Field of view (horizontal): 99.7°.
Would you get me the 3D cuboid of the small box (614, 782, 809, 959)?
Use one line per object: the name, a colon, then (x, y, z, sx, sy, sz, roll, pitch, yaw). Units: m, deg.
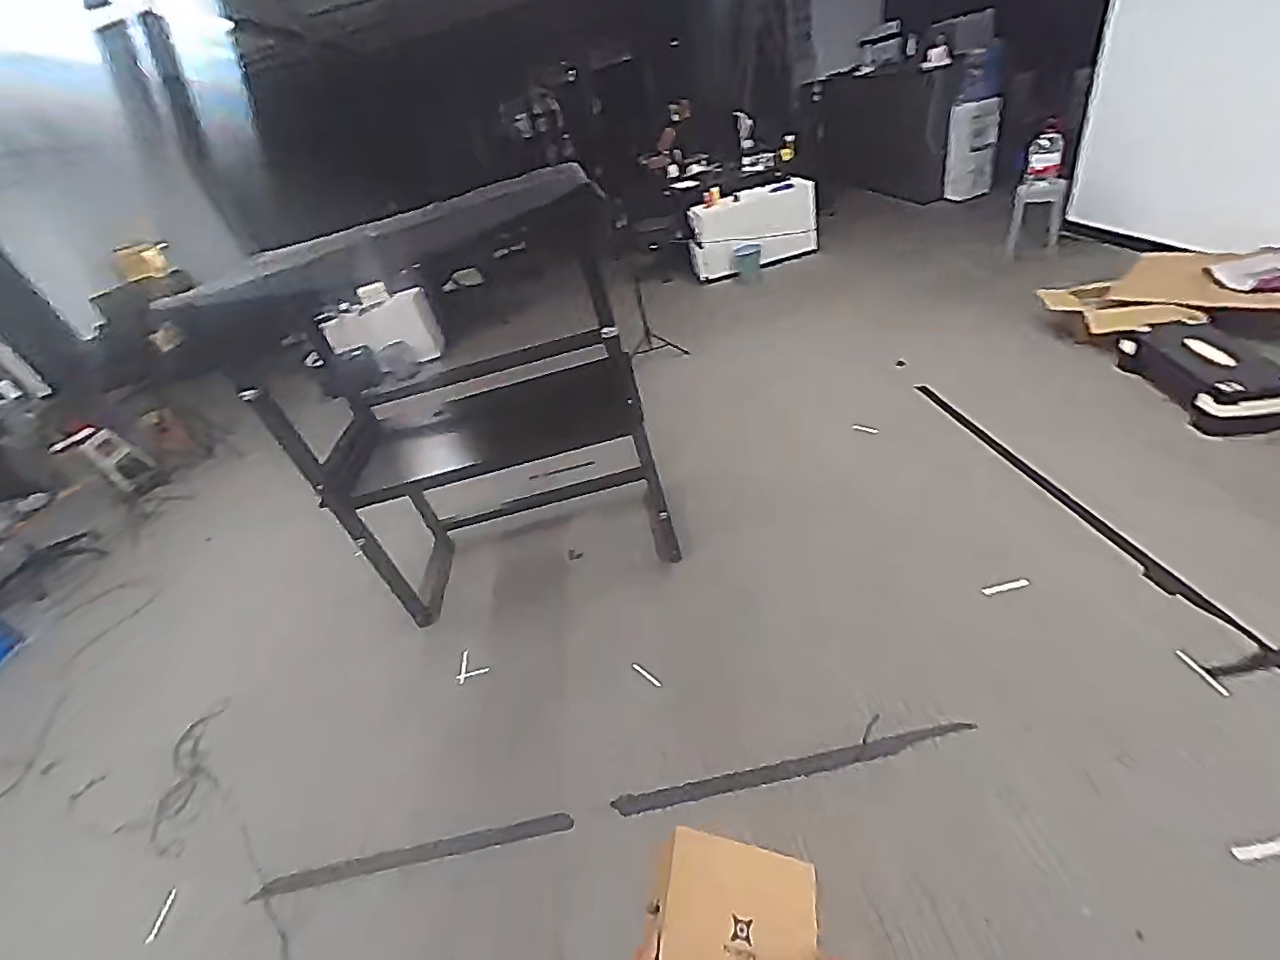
small box: (0.073, 0.468, 0.592, 0.168, 0.176, 0.179, 15, 45, 1)
